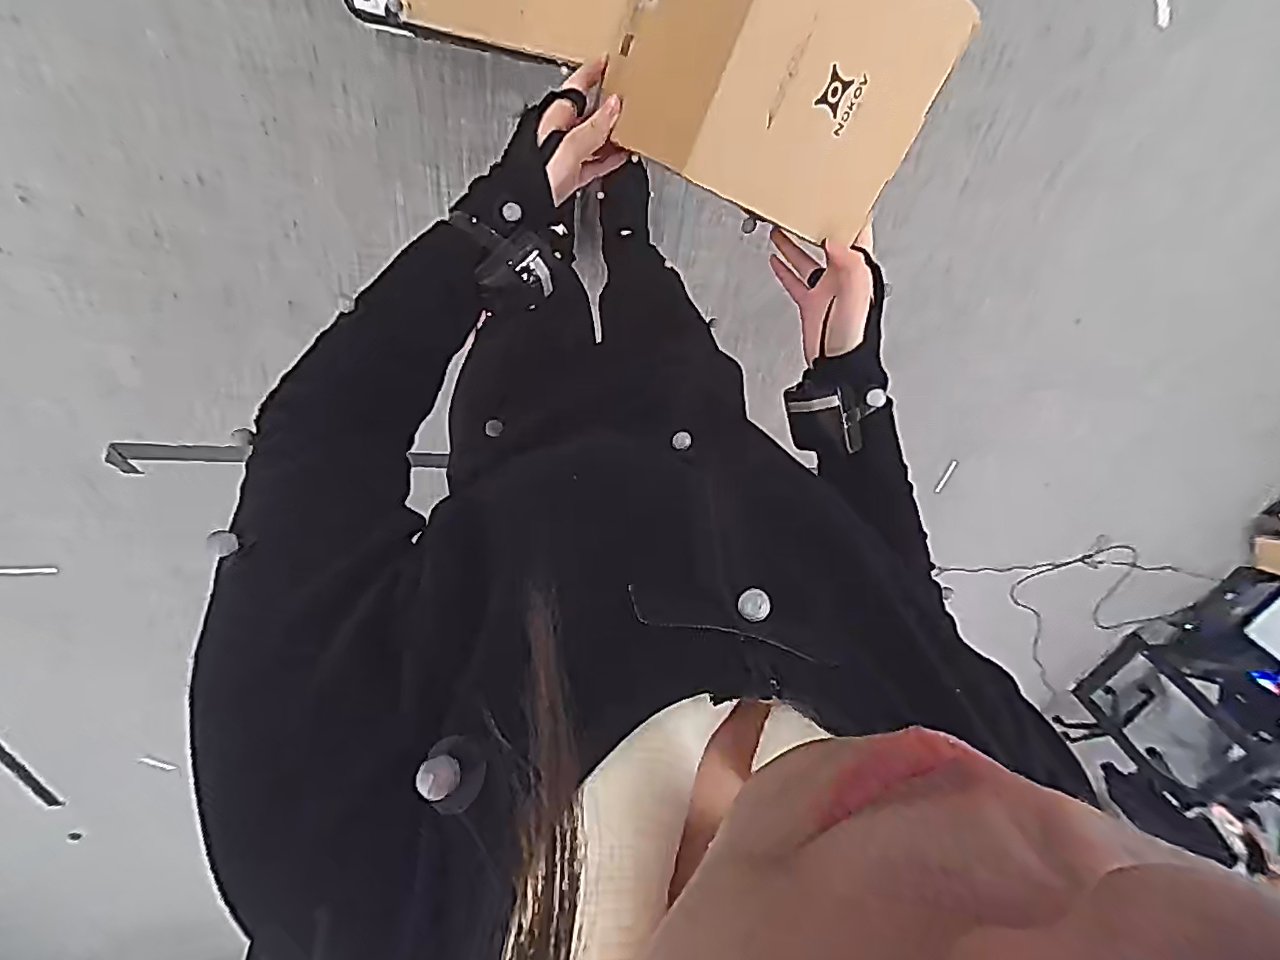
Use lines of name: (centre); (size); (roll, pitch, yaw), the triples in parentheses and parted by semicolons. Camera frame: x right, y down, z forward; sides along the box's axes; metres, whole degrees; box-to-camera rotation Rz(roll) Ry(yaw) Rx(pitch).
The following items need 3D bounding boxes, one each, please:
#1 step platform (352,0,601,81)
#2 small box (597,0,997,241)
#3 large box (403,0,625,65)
step platform: (-0.149, -0.855, 0.883); (0.684, 0.204, 0.286); (7, 125, -17)
small box: (0.097, -0.305, 0.390); (0.179, 0.176, 0.168); (5, 124, -36)
large box: (-0.073, -0.731, 0.690); (0.408, 0.320, 0.320); (3, 126, -14)
